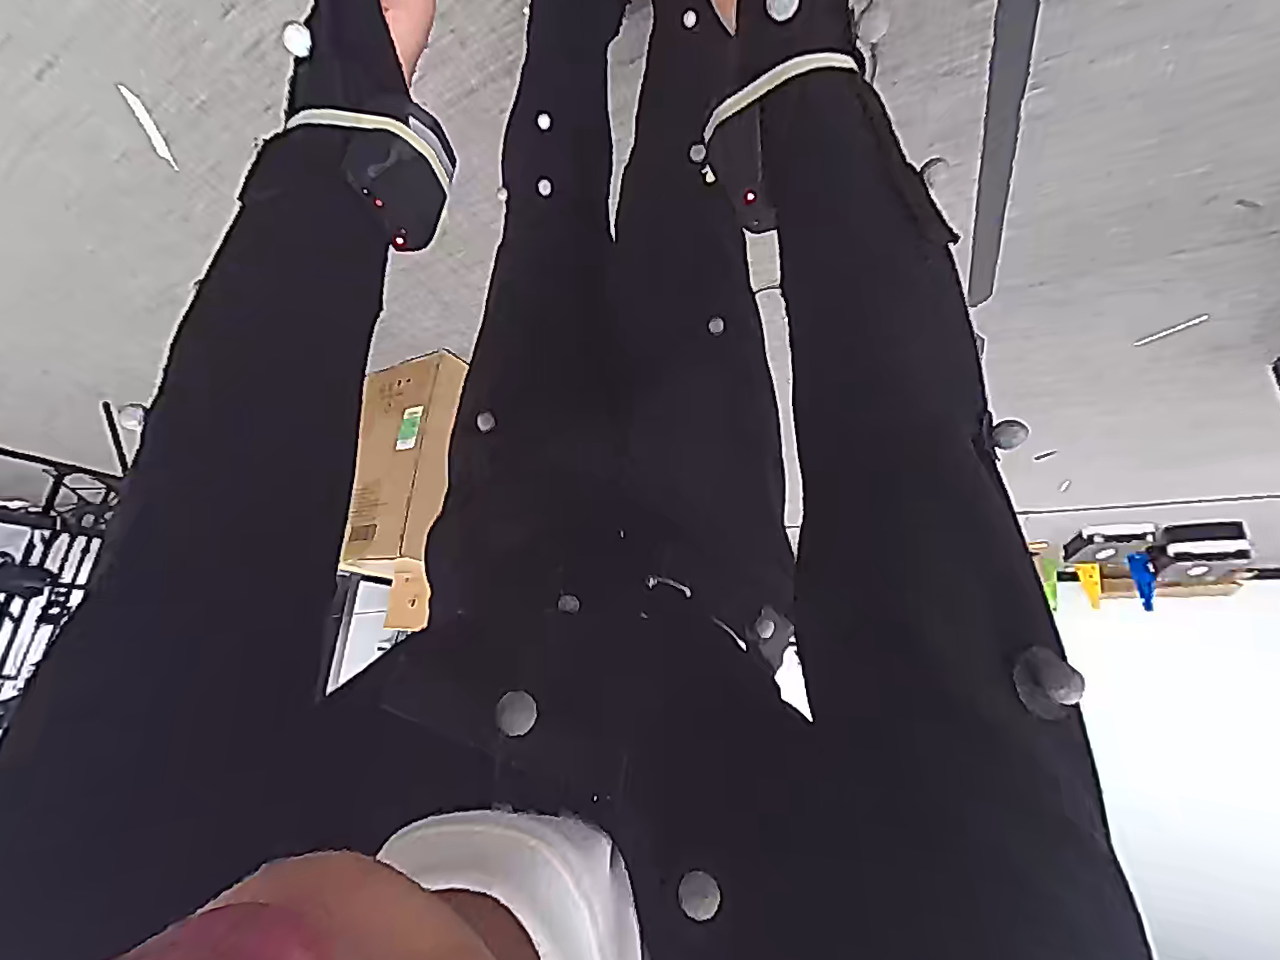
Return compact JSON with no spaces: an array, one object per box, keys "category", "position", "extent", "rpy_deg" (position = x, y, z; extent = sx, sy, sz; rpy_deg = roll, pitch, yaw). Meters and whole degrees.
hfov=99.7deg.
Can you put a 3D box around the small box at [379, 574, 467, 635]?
[{"category":"small box","position":[-0.652,0.378,1.643],"extent":[0.168,0.176,0.179],"rpy_deg":[-6,160,25]}]
